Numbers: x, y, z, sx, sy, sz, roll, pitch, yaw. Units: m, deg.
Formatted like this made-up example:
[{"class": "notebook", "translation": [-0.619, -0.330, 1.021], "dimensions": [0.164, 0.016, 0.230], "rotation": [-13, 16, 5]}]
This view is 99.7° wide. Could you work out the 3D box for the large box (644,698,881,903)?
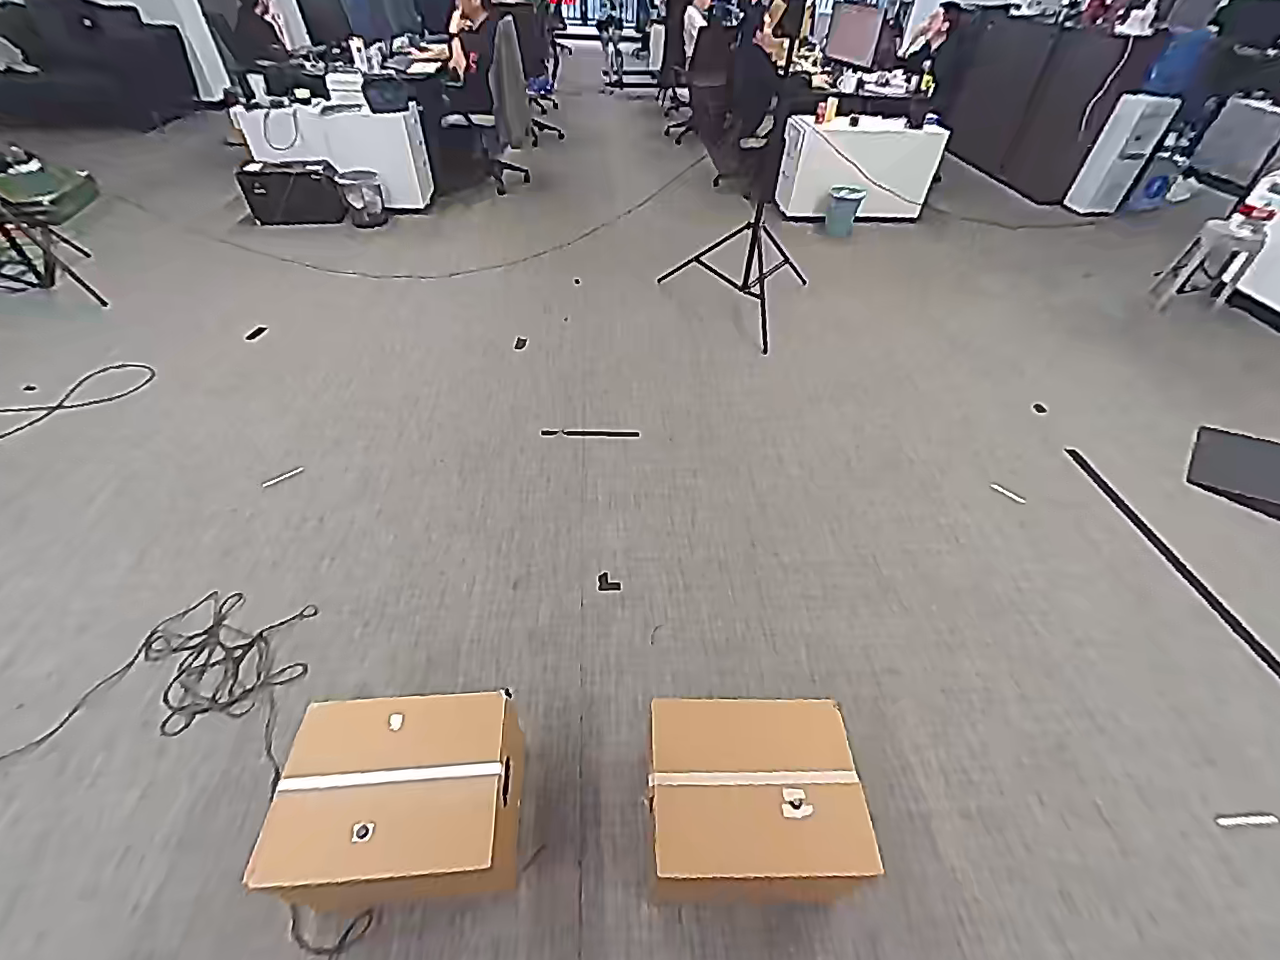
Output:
[{"class": "large box", "translation": [0.222, 0.686, 1.161], "dimensions": [0.408, 0.320, 0.320], "rotation": [2, 45, -3]}]
